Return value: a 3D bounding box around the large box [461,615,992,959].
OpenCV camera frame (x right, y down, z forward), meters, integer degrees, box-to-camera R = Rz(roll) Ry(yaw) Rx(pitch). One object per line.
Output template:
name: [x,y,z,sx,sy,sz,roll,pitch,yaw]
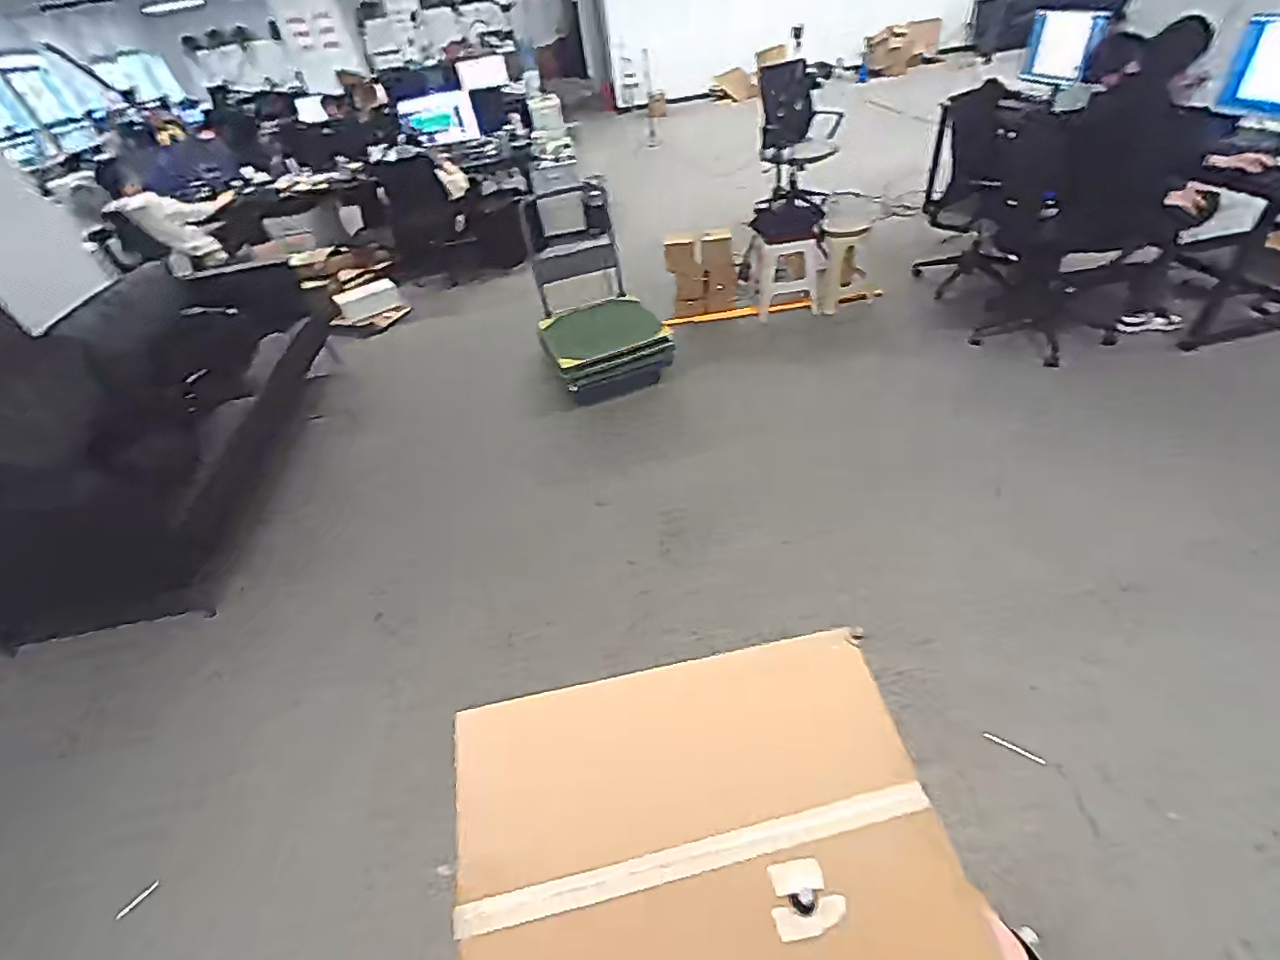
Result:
large box: [0.048,0.389,0.594,0.408,0.320,0.320,-10,57,-9]
